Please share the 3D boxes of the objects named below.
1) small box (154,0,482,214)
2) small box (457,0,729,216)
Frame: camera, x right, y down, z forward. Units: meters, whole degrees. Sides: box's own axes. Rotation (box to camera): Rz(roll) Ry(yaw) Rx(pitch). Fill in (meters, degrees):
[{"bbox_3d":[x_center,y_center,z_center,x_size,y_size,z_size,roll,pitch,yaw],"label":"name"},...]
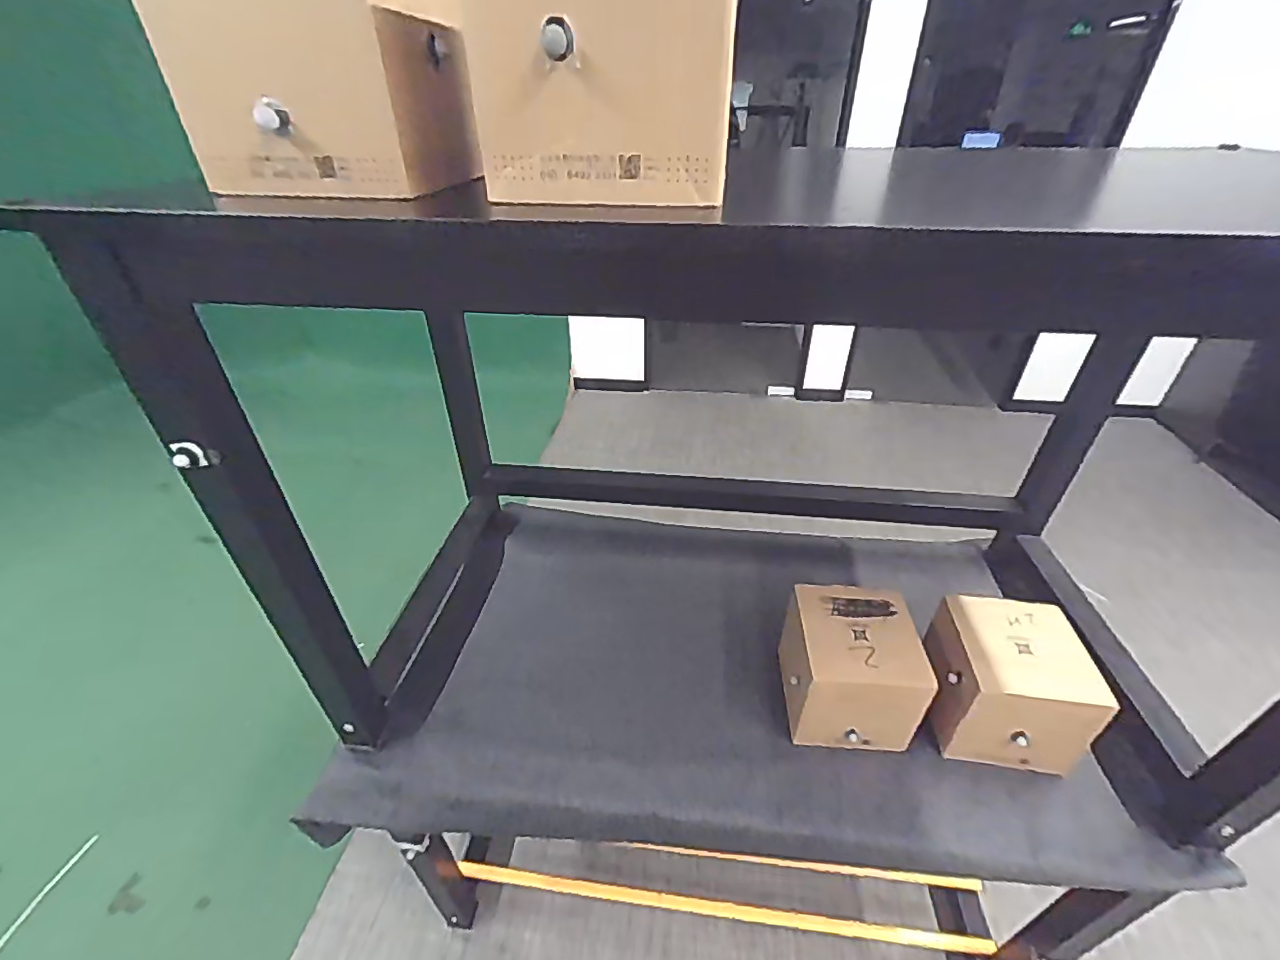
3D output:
[{"bbox_3d":[-0.241,-0.326,0.440,0.168,0.176,0.179,4,36,7],"label":"small box"},{"bbox_3d":[-0.019,-0.301,0.405,0.168,0.176,0.179,4,35,7],"label":"small box"}]
